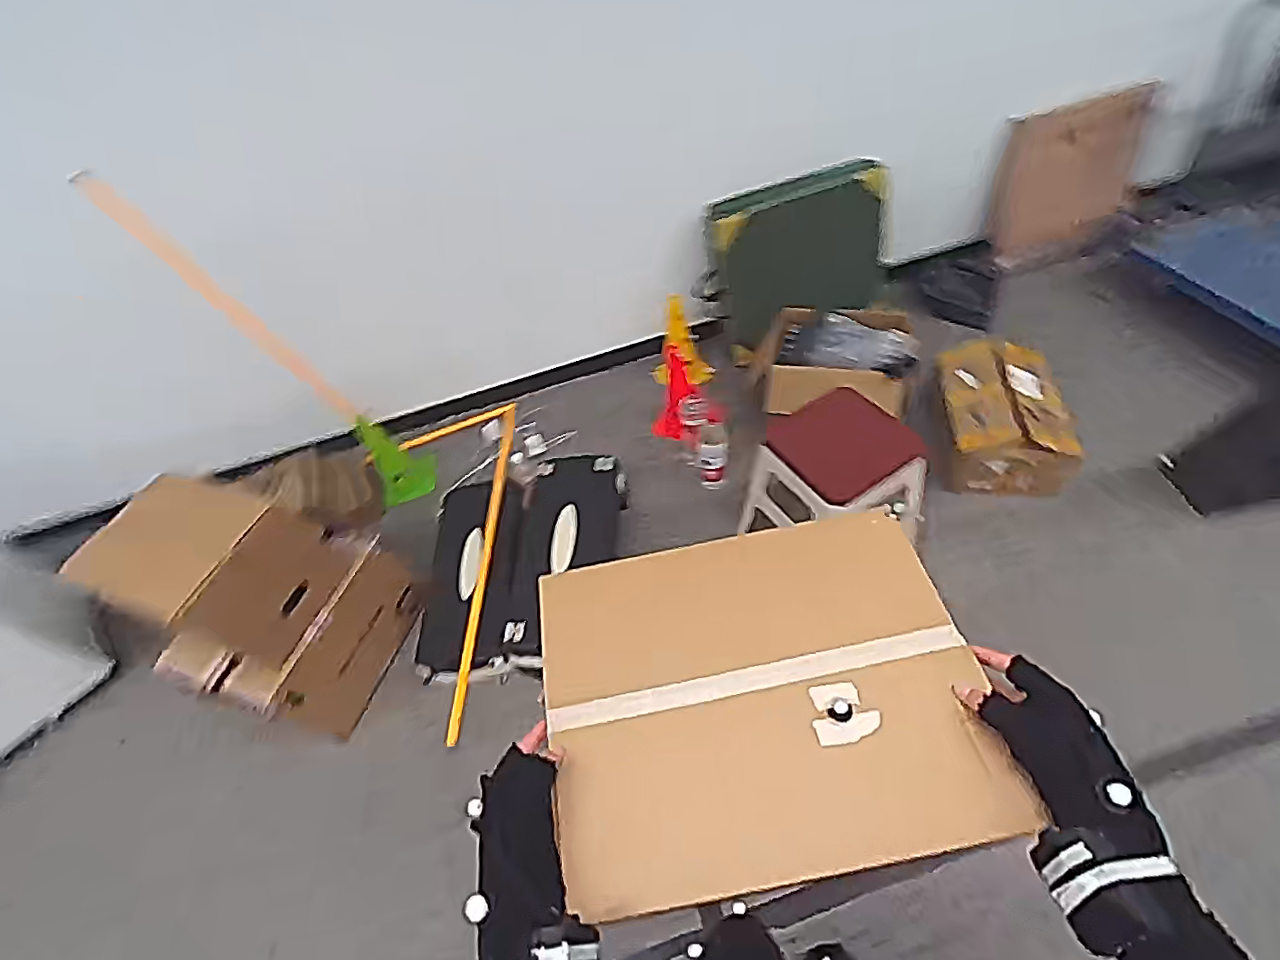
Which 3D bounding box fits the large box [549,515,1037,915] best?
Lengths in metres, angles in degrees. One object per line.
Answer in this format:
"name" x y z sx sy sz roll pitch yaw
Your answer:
"large box" 0.129 0.287 0.649 0.408 0.320 0.320 -11 53 1
